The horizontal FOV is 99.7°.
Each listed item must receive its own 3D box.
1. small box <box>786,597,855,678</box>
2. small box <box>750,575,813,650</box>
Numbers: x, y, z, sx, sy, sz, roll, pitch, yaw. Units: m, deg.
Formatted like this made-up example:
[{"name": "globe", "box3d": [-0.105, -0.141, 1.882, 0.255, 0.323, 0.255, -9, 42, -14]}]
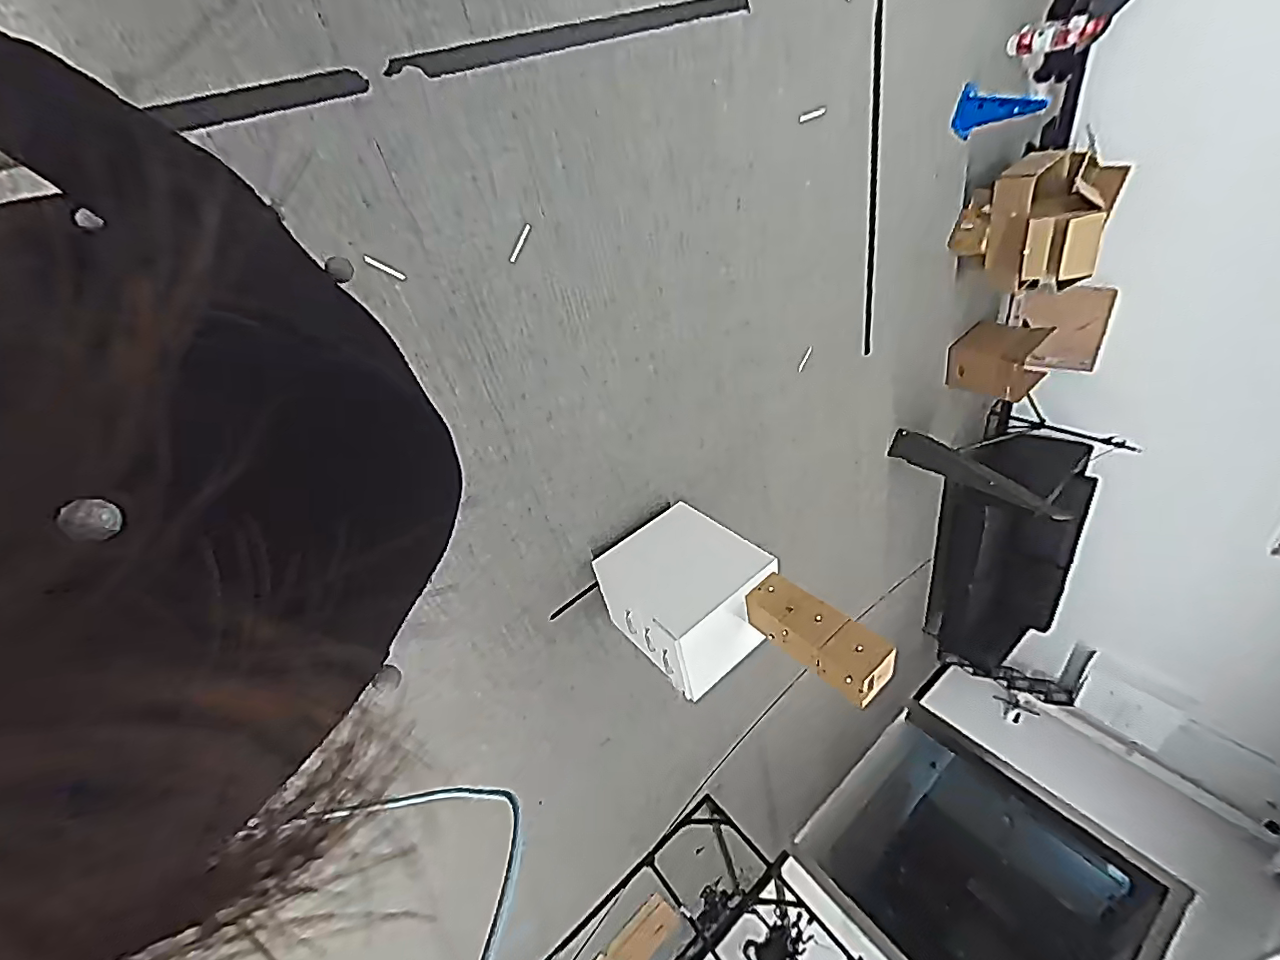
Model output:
[{"name": "small box", "box3d": [0.629, 0.549, 1.904, 0.179, 0.176, 0.168, -33, 131, -23]}, {"name": "small box", "box3d": [0.531, 0.491, 2.023, 0.168, 0.176, 0.179, -33, 130, -22]}]
